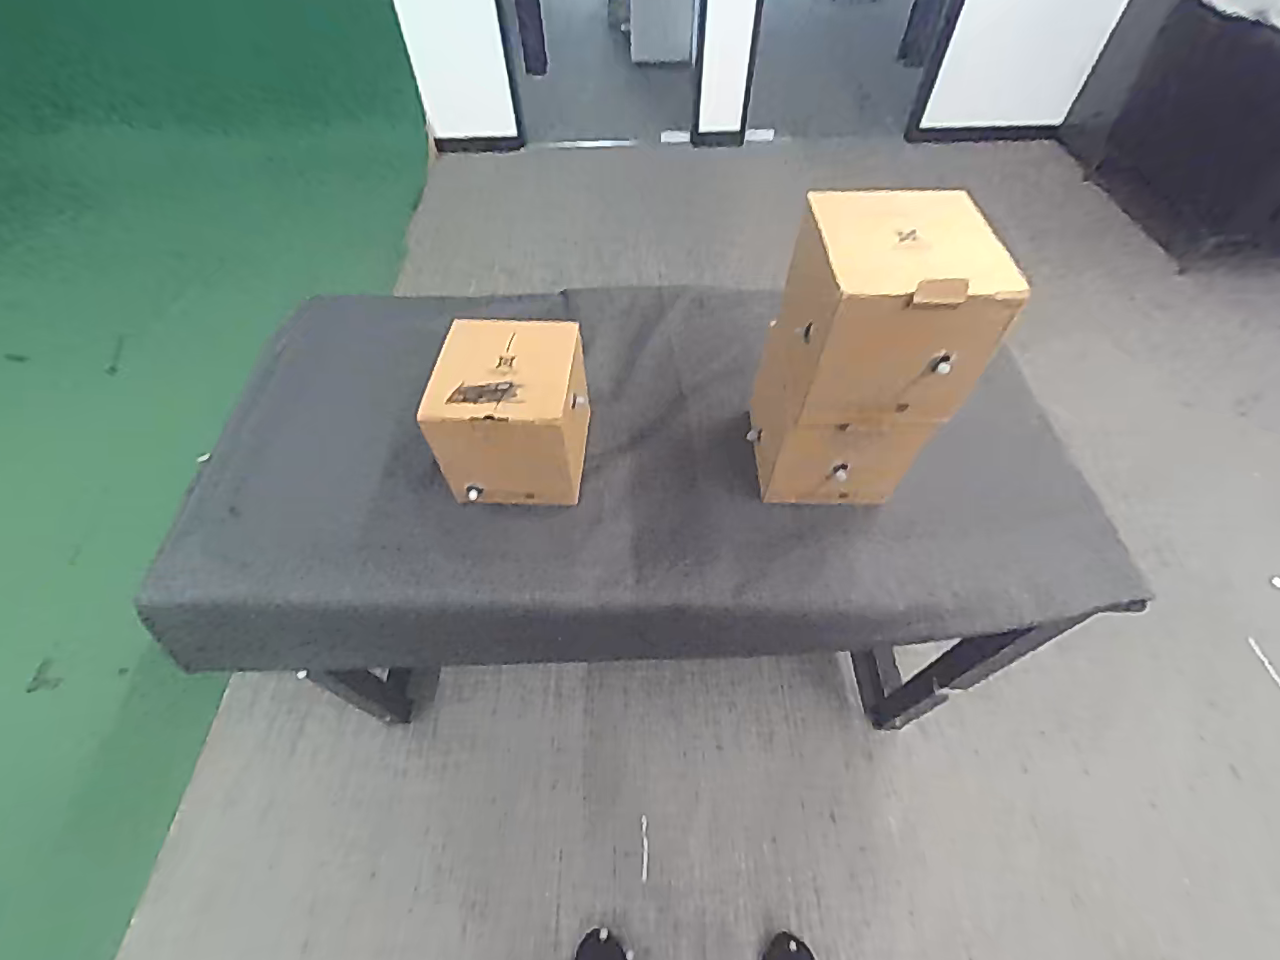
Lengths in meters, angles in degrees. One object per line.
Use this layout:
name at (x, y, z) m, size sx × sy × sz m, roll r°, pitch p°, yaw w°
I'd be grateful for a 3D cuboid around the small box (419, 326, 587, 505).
small box at (-0.164, -0.082, 0.719) m, size 0.168 × 0.176 × 0.179 m, roll 2°, pitch 52°, yaw 2°

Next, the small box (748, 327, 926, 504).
small box at (0.242, -0.081, 0.716) m, size 0.168 × 0.176 × 0.179 m, roll 1°, pitch 54°, yaw 1°

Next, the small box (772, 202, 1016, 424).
small box at (0.247, -0.174, 0.582) m, size 0.168 × 0.176 × 0.179 m, roll 0°, pitch 52°, yaw 0°
